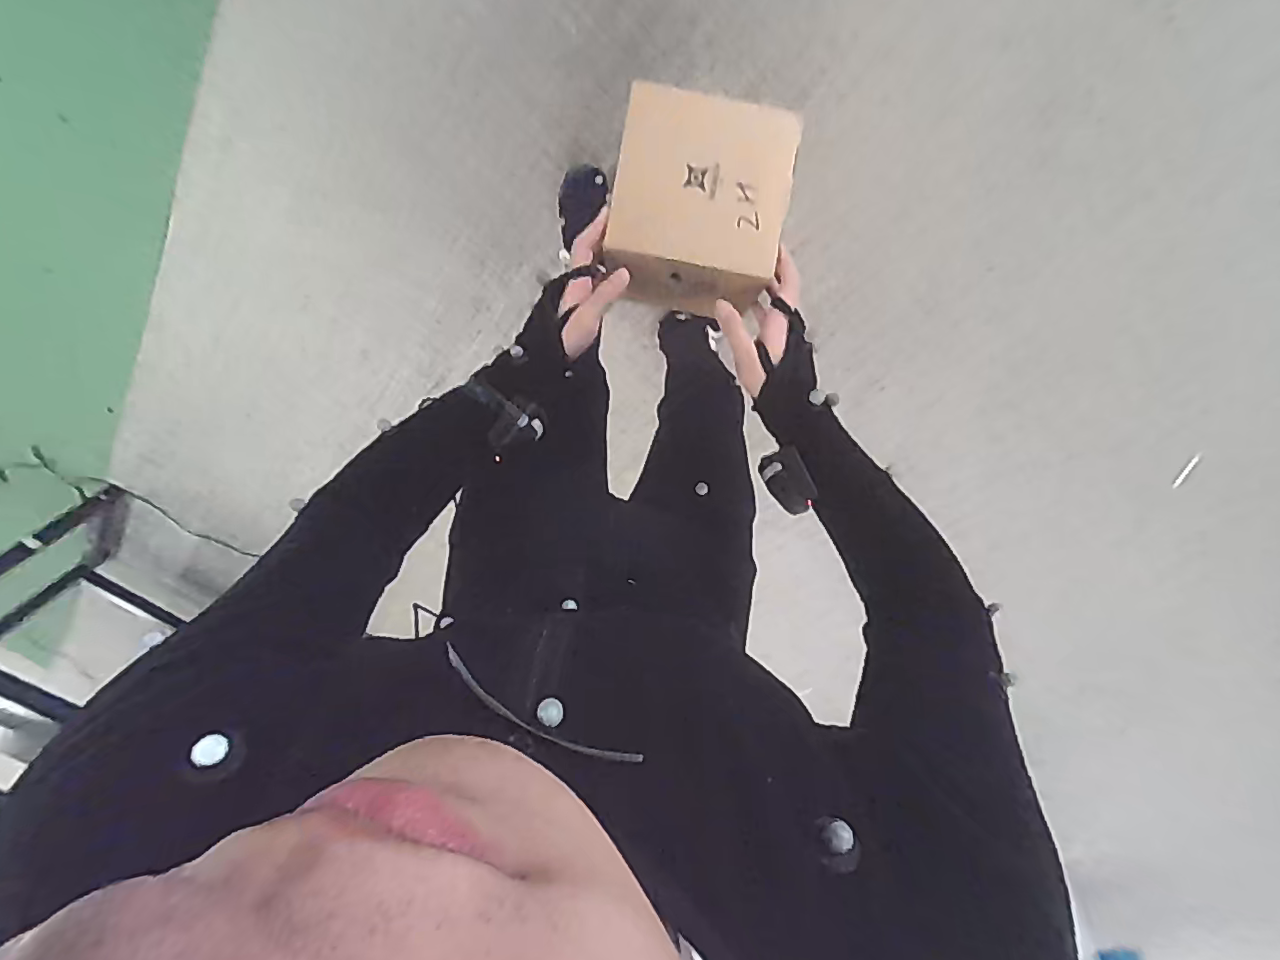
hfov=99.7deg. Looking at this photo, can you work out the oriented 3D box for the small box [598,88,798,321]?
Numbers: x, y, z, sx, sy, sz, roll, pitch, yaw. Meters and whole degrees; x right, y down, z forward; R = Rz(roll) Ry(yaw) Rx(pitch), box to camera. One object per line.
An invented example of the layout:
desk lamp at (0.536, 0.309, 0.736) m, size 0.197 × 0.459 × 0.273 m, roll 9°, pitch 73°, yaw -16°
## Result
small box at (0.056, -0.293, 0.613) m, size 0.179 × 0.176 × 0.168 m, roll 10°, pitch 91°, yaw -1°
